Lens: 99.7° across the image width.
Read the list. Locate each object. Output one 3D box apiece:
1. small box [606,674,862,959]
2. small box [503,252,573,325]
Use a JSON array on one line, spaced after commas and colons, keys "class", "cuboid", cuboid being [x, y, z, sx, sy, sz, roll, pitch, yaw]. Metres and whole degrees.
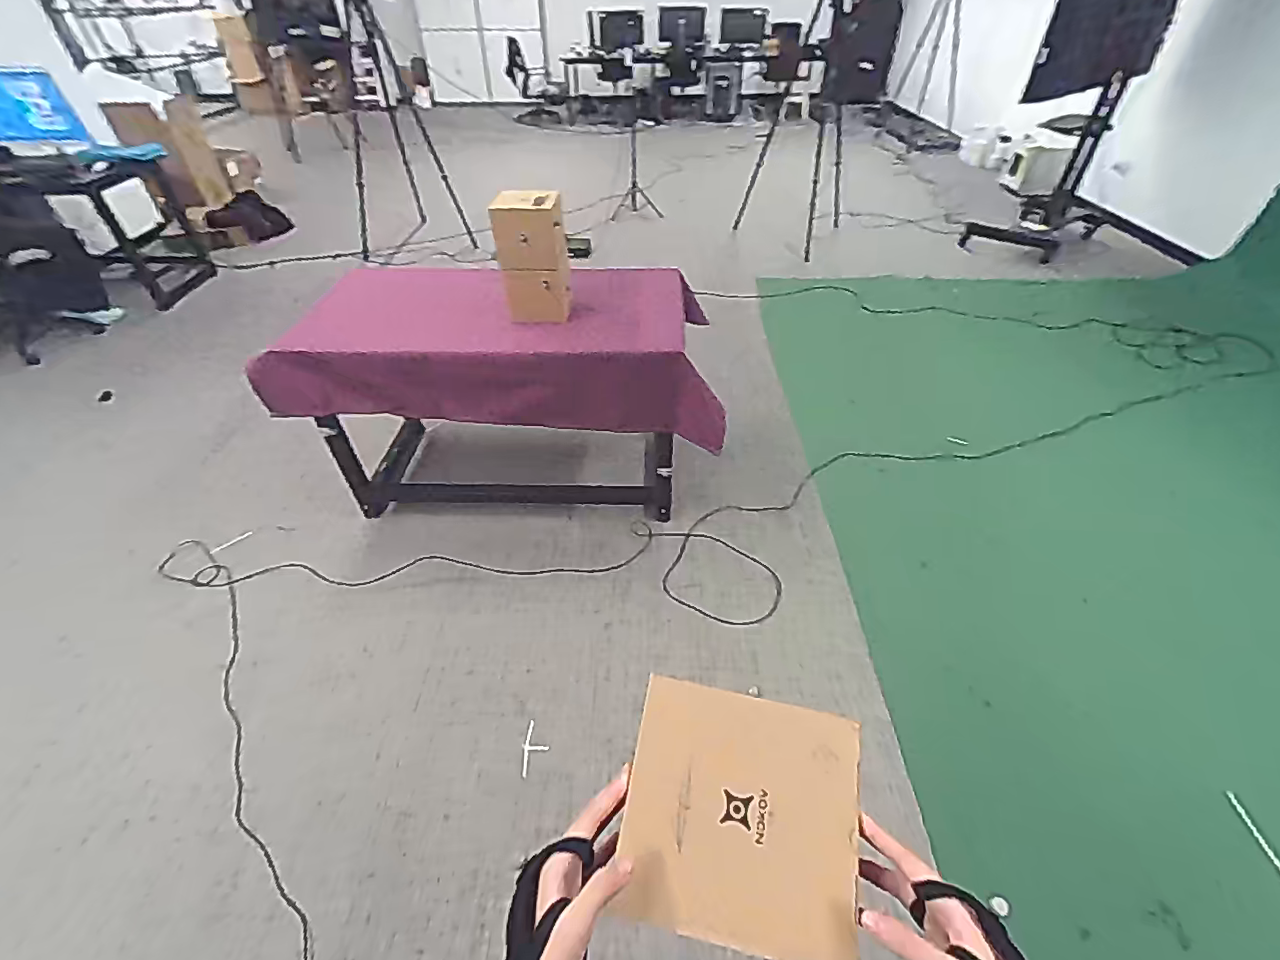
[{"class": "small box", "cuboid": [0.078, 0.285, 0.478, 0.179, 0.176, 0.168, 10, 61, 7]}, {"class": "small box", "cuboid": [-0.309, -0.594, 1.685, 0.179, 0.176, 0.168, 1, 42, 3]}]
